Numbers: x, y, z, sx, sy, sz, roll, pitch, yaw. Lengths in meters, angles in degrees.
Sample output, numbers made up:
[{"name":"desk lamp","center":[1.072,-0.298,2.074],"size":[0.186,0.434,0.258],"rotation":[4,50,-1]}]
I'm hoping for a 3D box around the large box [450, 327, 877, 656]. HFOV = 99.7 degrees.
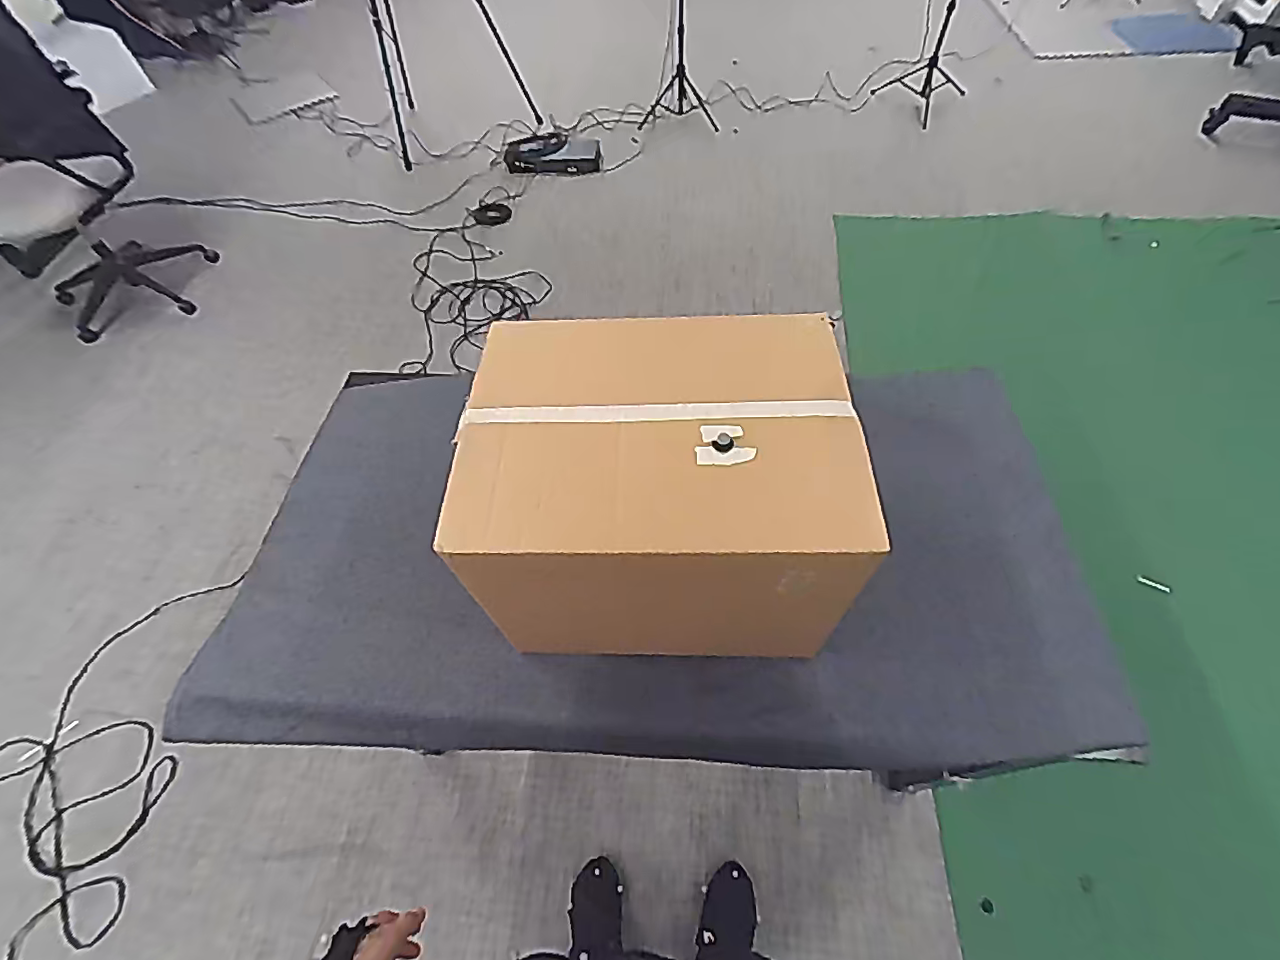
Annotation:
[{"name":"large box","center":[0.025,0.029,0.700],"size":[0.408,0.320,0.320],"rotation":[-1,56,3]}]
